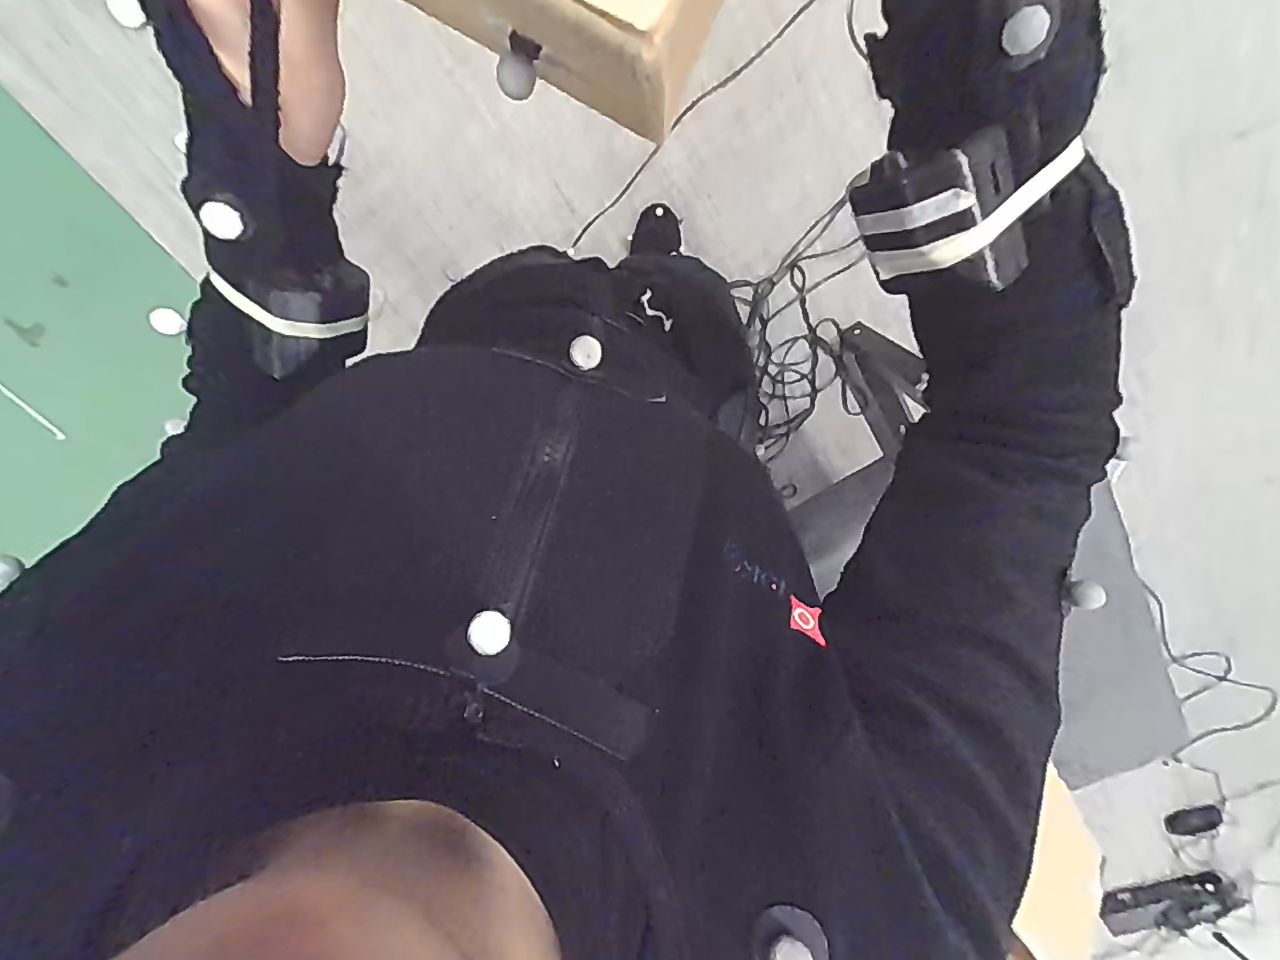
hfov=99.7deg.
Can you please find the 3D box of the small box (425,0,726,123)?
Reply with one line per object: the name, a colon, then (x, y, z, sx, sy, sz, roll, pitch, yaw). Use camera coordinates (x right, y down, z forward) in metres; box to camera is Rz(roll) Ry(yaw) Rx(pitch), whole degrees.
small box: (-0.027, -0.223, 0.131, 0.168, 0.176, 0.179, 24, 115, -10)
